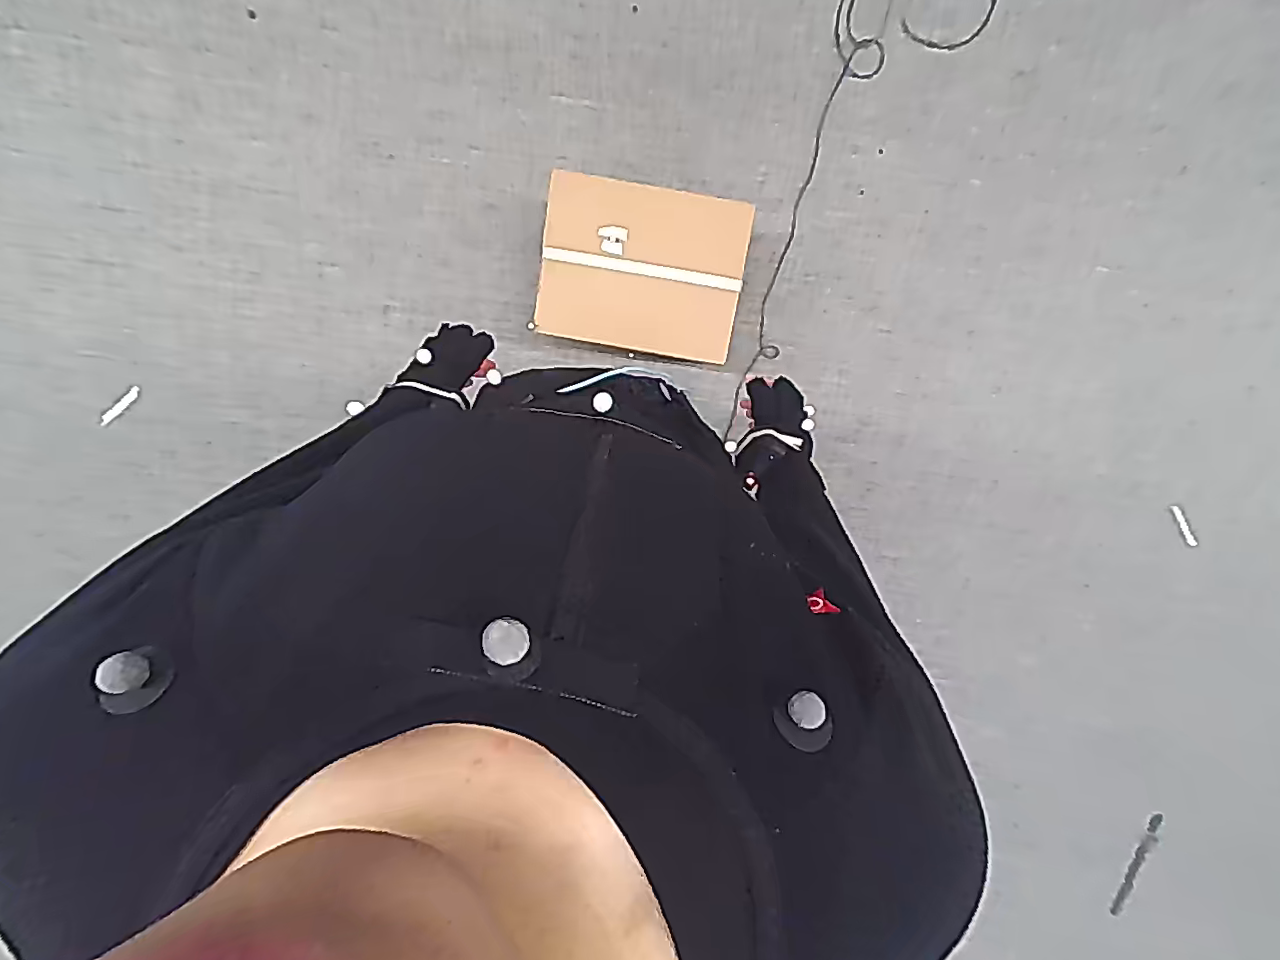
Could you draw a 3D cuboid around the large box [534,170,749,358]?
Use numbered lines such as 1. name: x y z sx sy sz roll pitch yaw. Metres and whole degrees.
1. large box: 0.003 -0.465 1.233 0.408 0.320 0.320 10 103 -1
